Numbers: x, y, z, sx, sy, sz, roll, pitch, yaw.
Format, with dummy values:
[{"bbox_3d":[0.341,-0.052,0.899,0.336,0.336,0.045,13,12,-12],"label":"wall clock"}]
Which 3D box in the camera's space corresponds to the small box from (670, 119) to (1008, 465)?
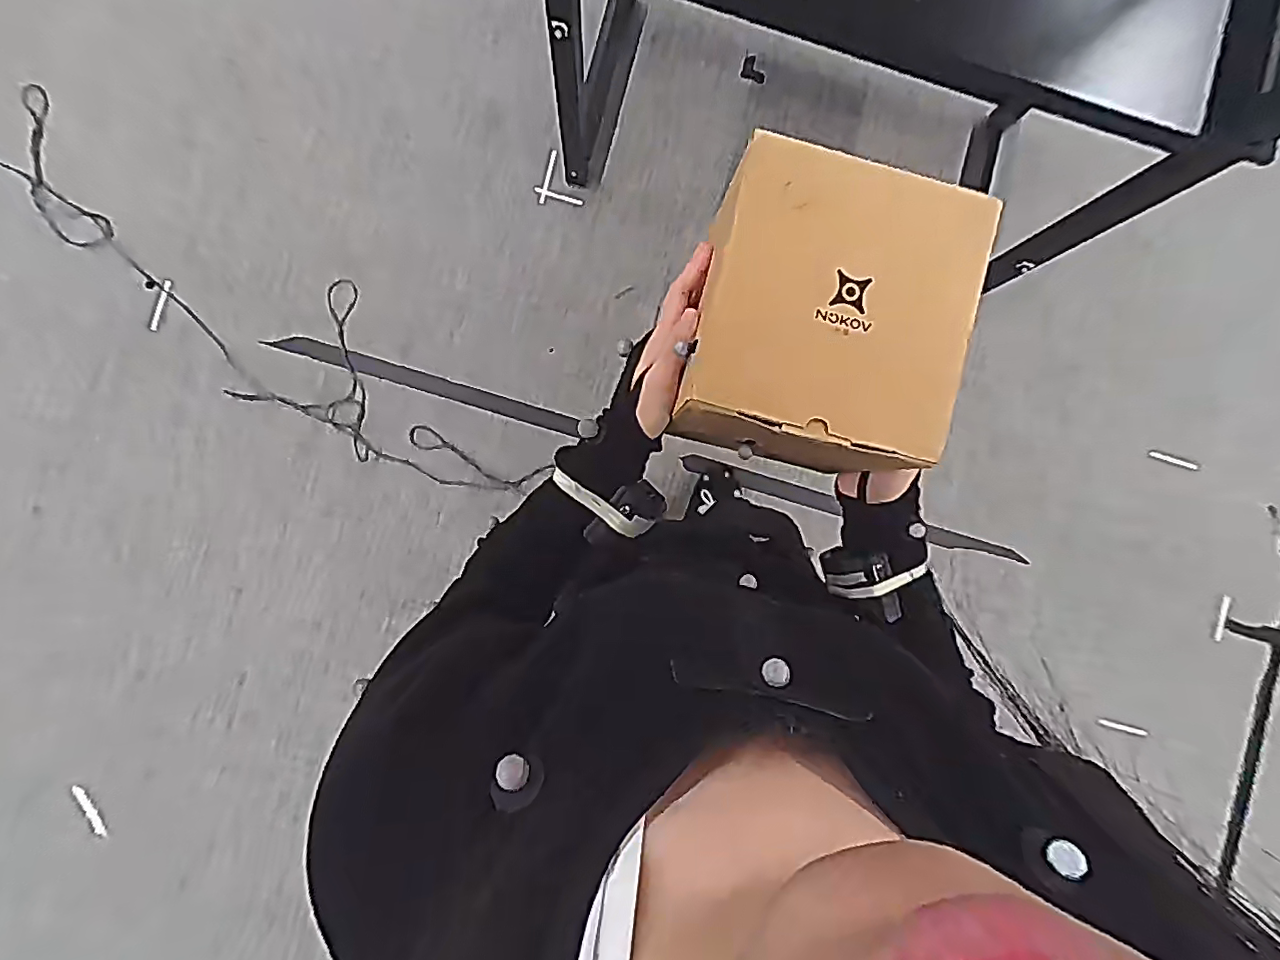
[{"bbox_3d":[0.125,-0.114,0.407,0.168,0.176,0.179,13,90,-4],"label":"small box"}]
